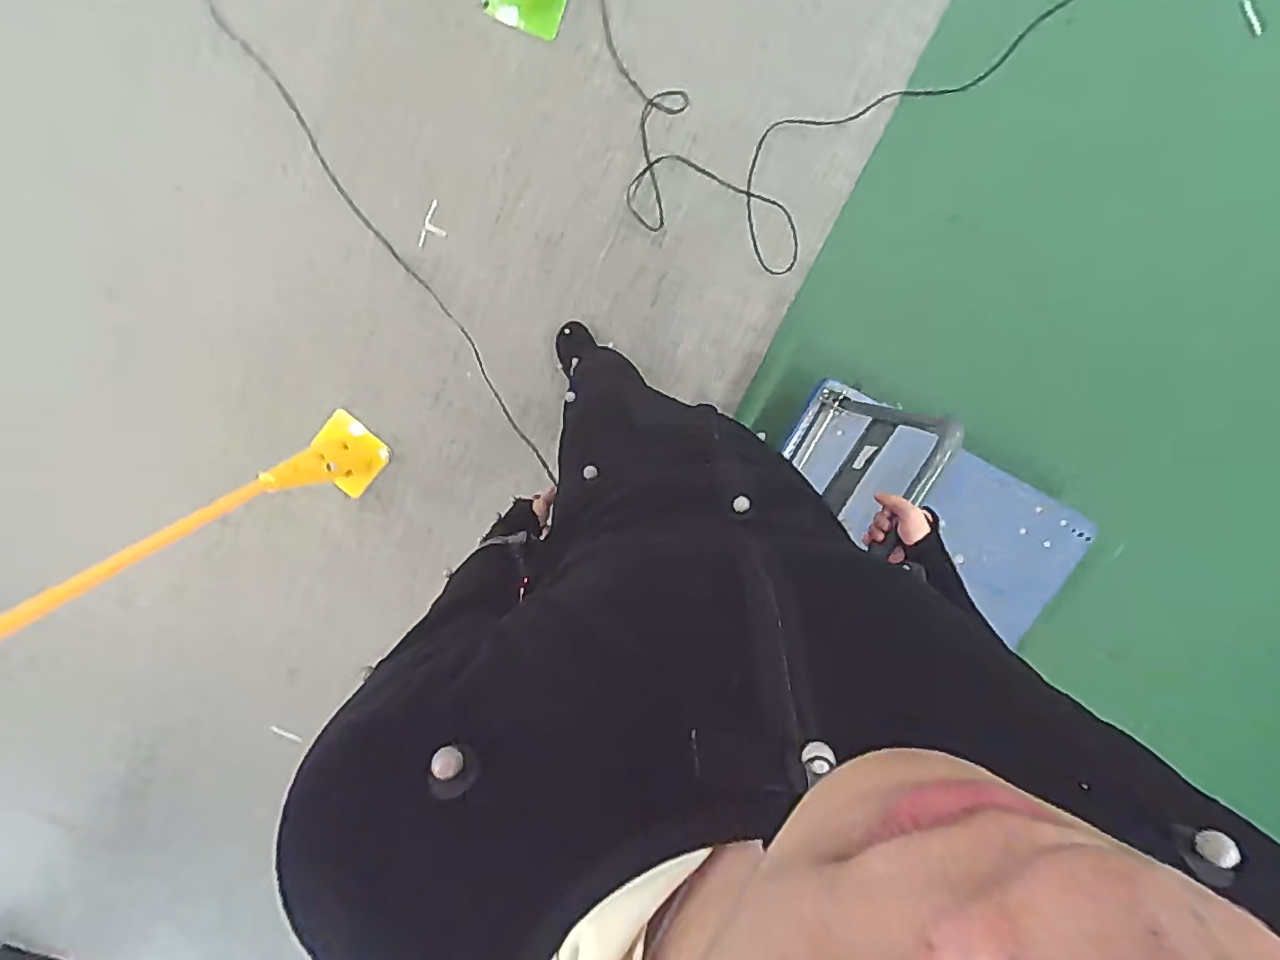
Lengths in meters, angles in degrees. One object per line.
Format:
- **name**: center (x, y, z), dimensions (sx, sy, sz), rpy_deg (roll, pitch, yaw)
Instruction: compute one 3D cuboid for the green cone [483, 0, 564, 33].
- **green cone**: center (-0.274, -1.191, 1.150), dimensions (0.200, 0.368, 0.202), rpy_deg (21, 102, -4)
